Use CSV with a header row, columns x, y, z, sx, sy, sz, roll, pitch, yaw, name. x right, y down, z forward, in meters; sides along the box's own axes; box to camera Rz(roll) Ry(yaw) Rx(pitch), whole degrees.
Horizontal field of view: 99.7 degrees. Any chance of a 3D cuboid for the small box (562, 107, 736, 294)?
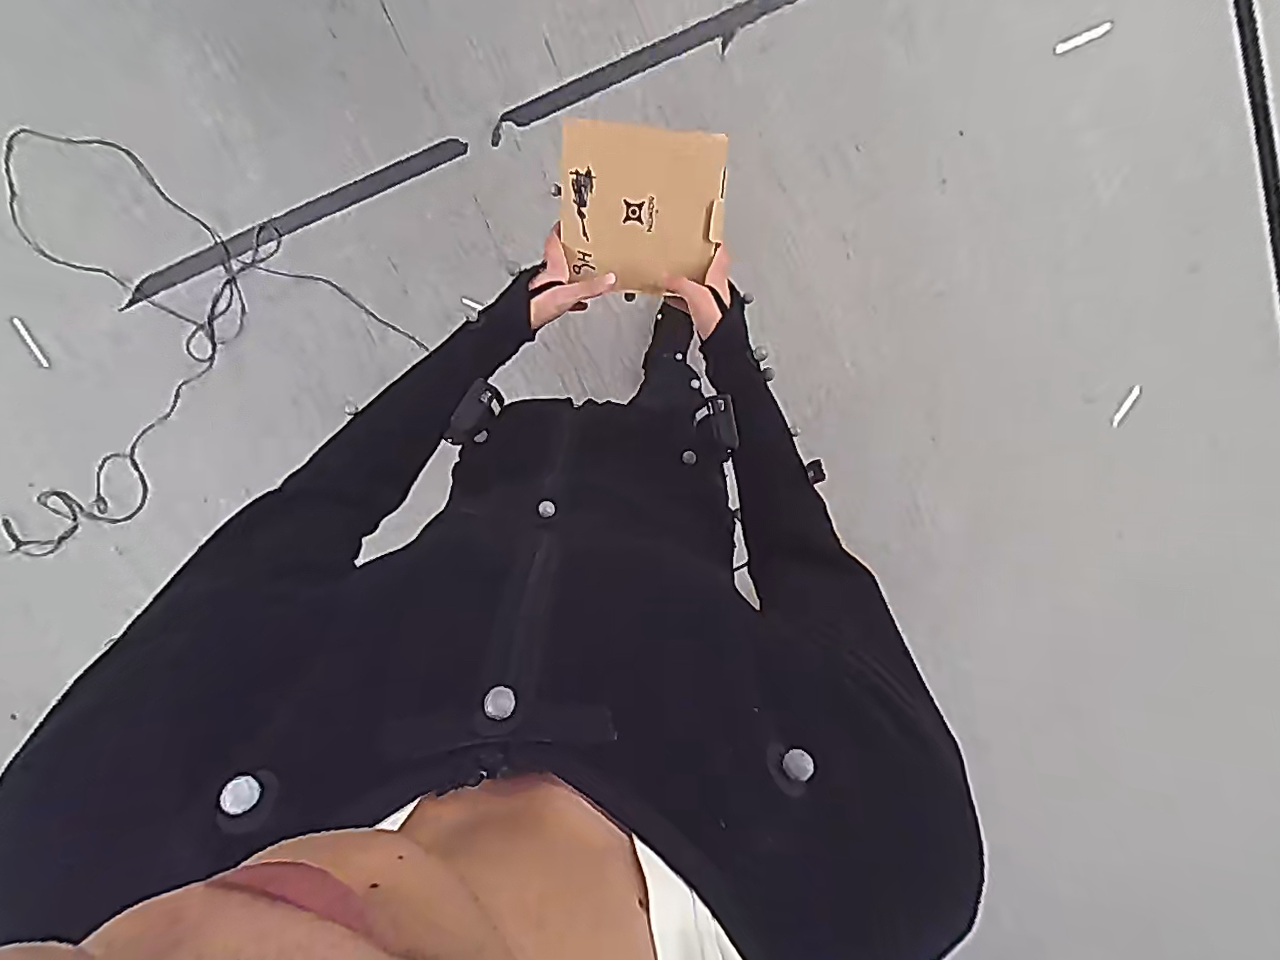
x,y,z,sx,sy,sz,roll,pitch,yaw,name
0.000,-0.320,0.645,0.179,0.176,0.168,2,112,-6,small box
